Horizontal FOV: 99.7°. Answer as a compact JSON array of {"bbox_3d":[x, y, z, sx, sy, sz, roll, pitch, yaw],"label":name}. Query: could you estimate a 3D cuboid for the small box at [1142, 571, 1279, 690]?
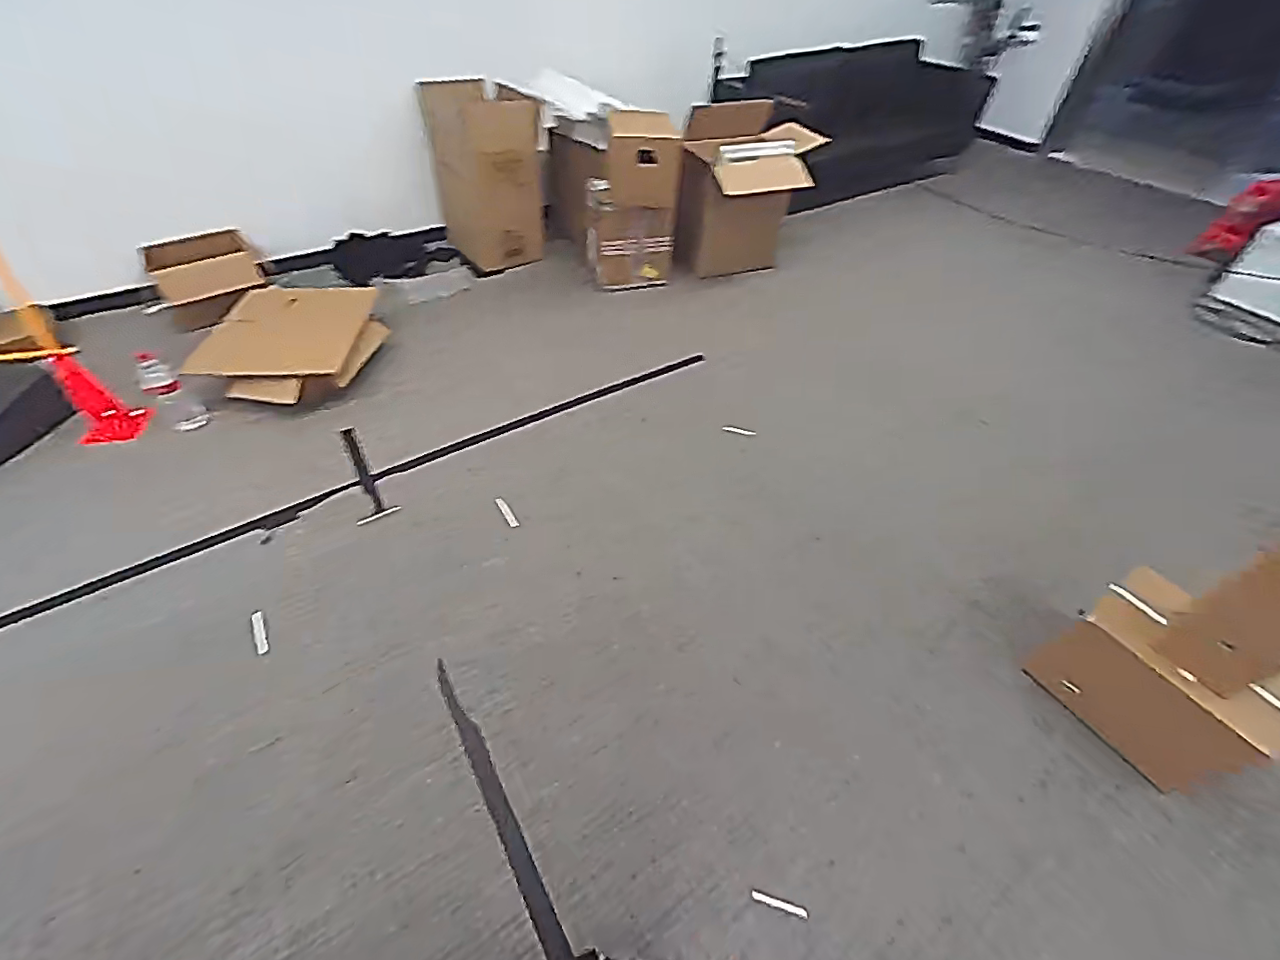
[{"bbox_3d":[1.349,0.353,1.263,0.168,0.176,0.179,-26,54,-23],"label":"small box"}]
